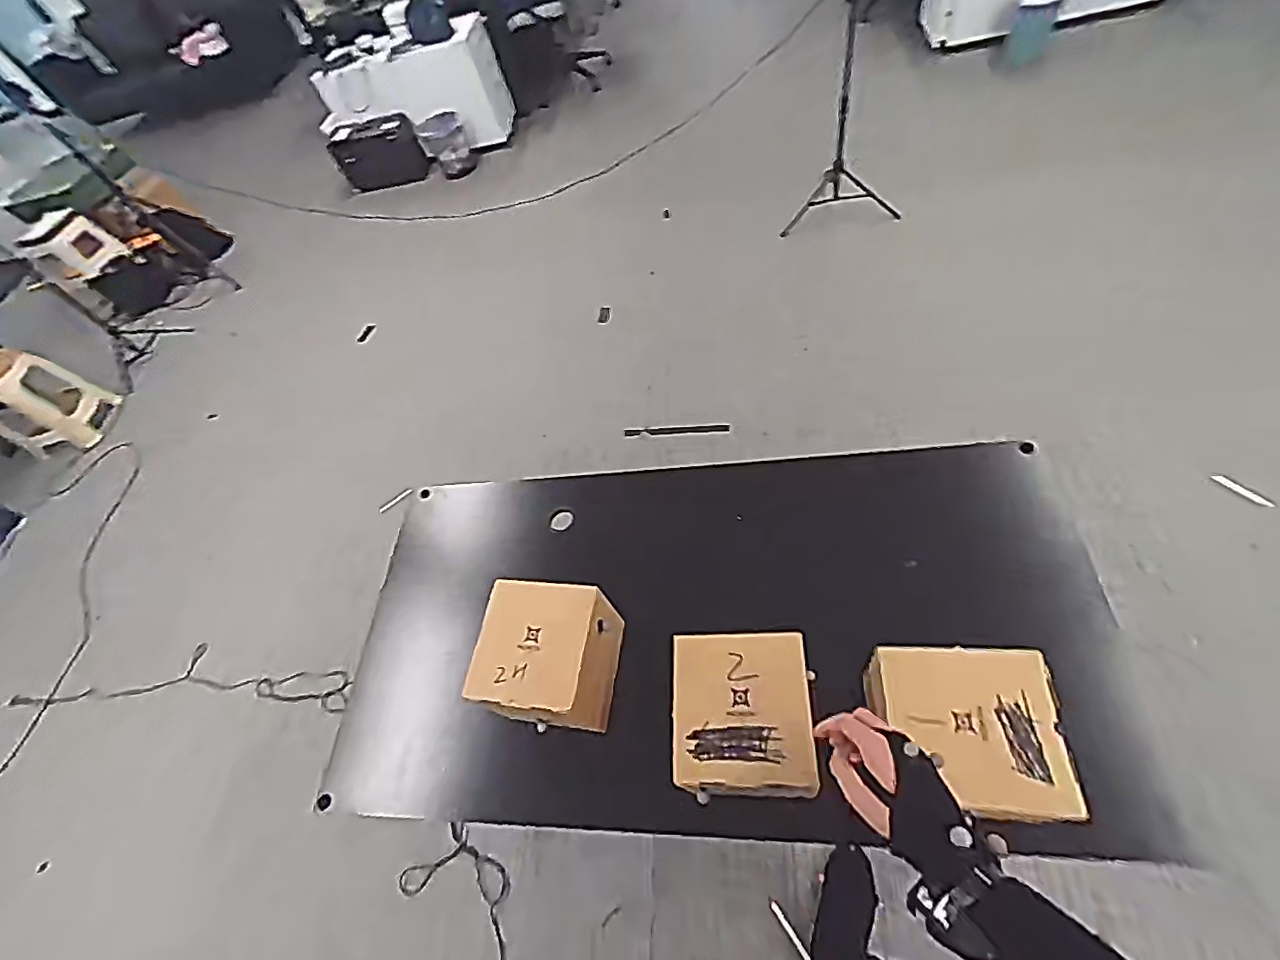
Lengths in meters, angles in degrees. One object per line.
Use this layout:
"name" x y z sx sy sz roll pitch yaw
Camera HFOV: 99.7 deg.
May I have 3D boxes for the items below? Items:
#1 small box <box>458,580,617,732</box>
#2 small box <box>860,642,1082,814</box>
"small box" -0.140 0.267 0.820 0.168 0.176 0.179 0 59 15
"small box" 0.378 0.304 0.658 0.179 0.176 0.168 -4 57 14
